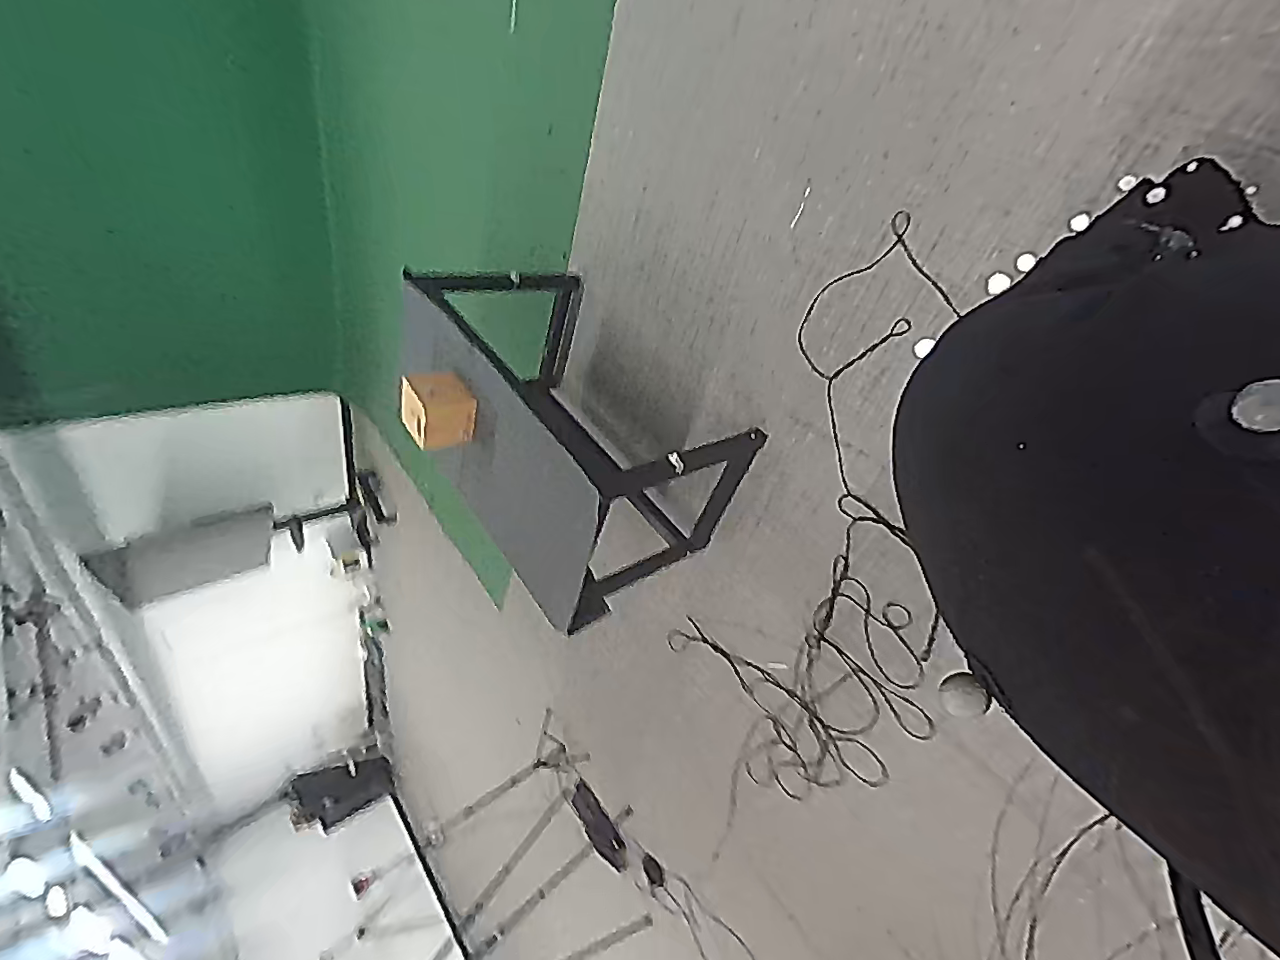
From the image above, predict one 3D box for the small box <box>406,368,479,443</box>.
[{"bbox_3d":[-0.640,-0.248,1.751,0.179,0.176,0.168,48,135,27],"label":"small box"}]
